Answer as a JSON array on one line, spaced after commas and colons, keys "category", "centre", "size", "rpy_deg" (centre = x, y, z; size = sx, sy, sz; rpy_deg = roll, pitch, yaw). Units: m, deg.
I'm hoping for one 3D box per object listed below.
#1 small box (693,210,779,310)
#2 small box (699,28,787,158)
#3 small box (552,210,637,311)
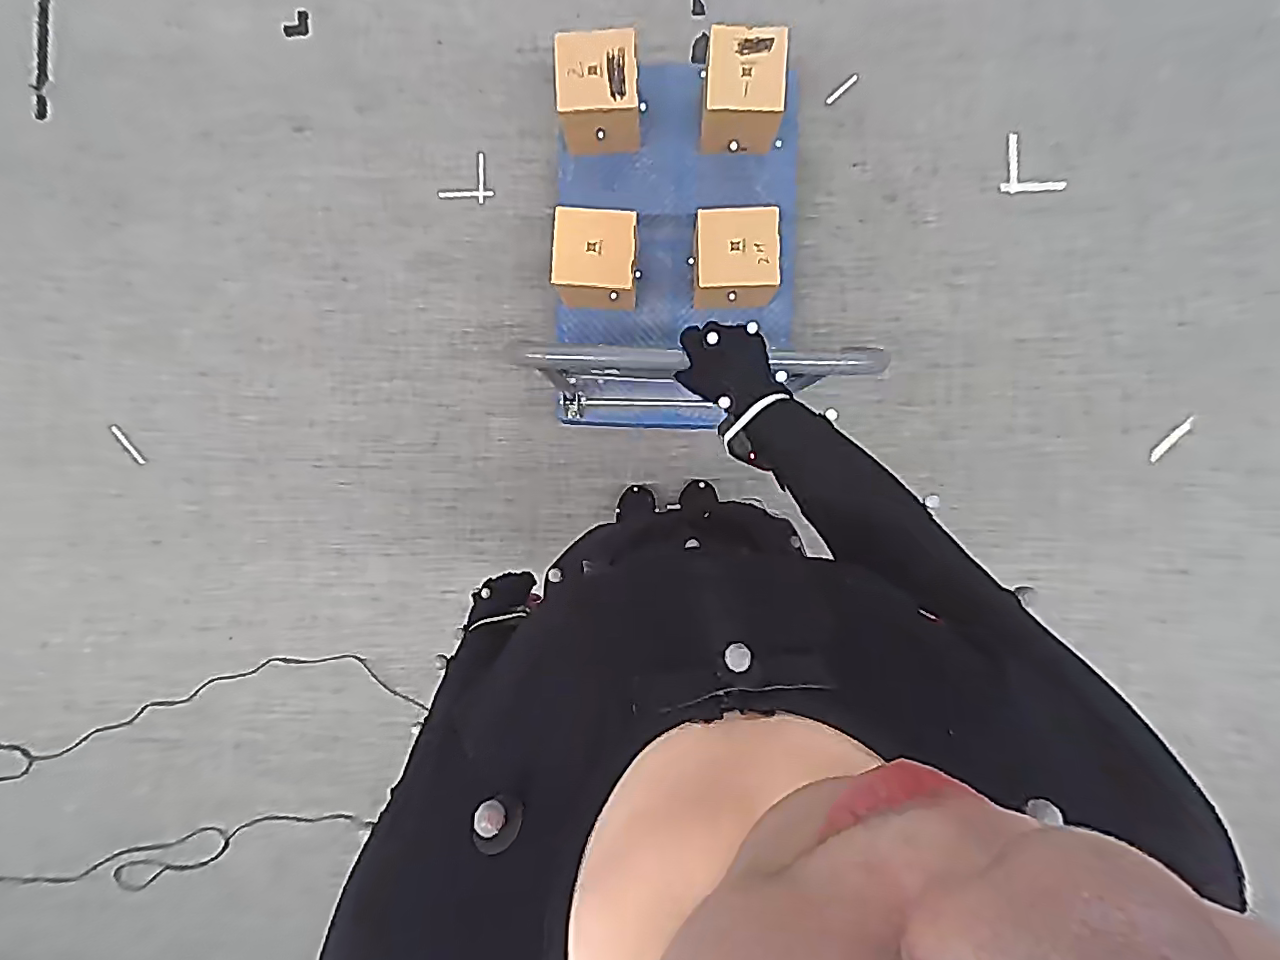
[{"category": "small box", "centre": [0.211, -0.493, 1.231], "size": [0.179, 0.176, 0.168], "rpy_deg": [-1, 91, 1]}, {"category": "small box", "centre": [0.225, -0.867, 1.222], "size": [0.168, 0.176, 0.179], "rpy_deg": [2, 92, 1]}, {"category": "small box", "centre": [-0.098, -0.494, 1.238], "size": [0.179, 0.176, 0.168], "rpy_deg": [3, 91, 0]}]
